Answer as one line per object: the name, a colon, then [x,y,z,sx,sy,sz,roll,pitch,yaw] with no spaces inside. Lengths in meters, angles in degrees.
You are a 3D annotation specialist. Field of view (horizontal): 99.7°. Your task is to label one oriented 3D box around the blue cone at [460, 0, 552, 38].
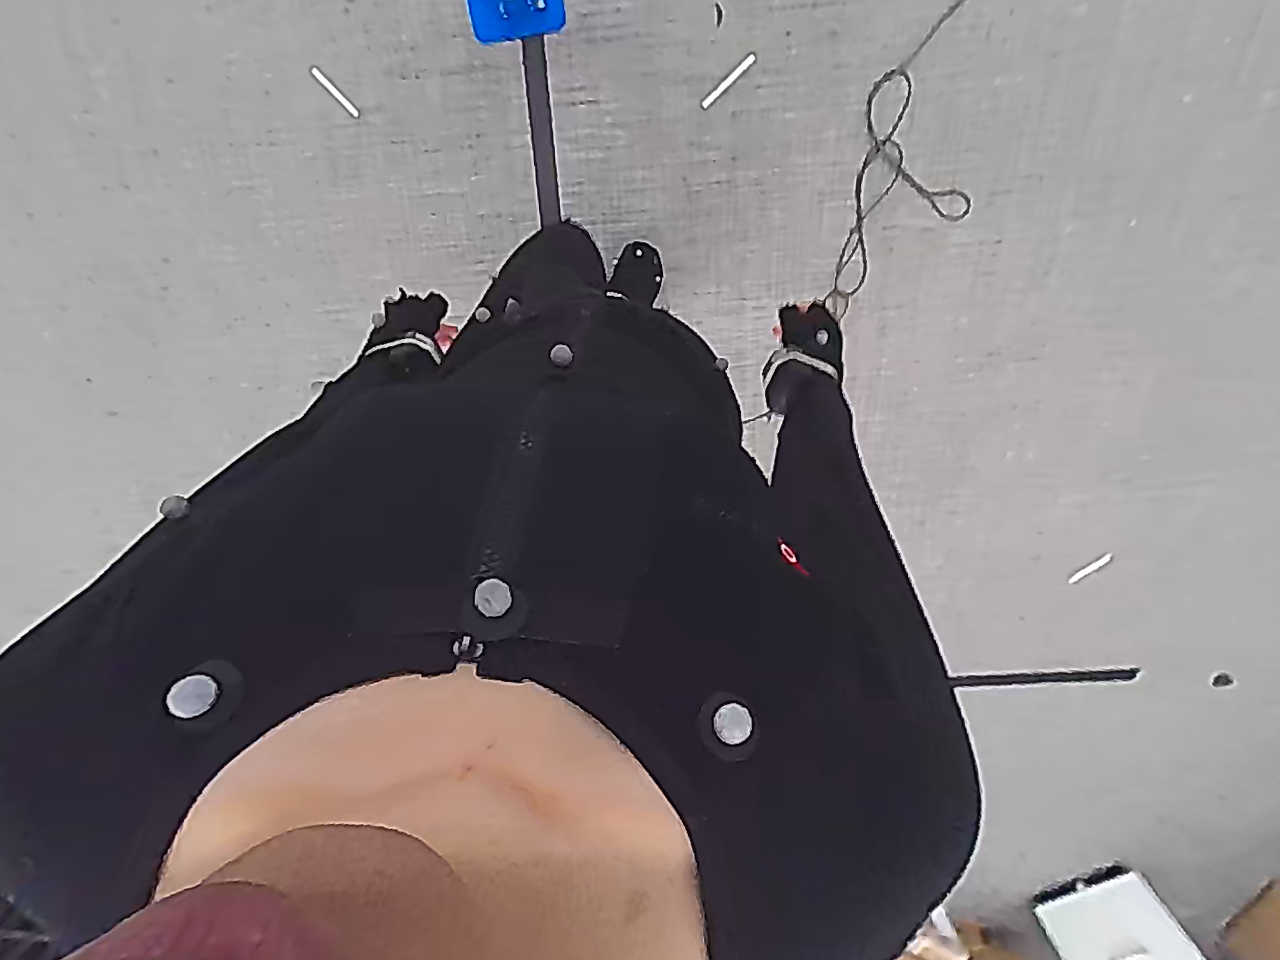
blue cone: [-0.286,-0.965,0.946,0.192,0.380,0.193,-6,112,4]
